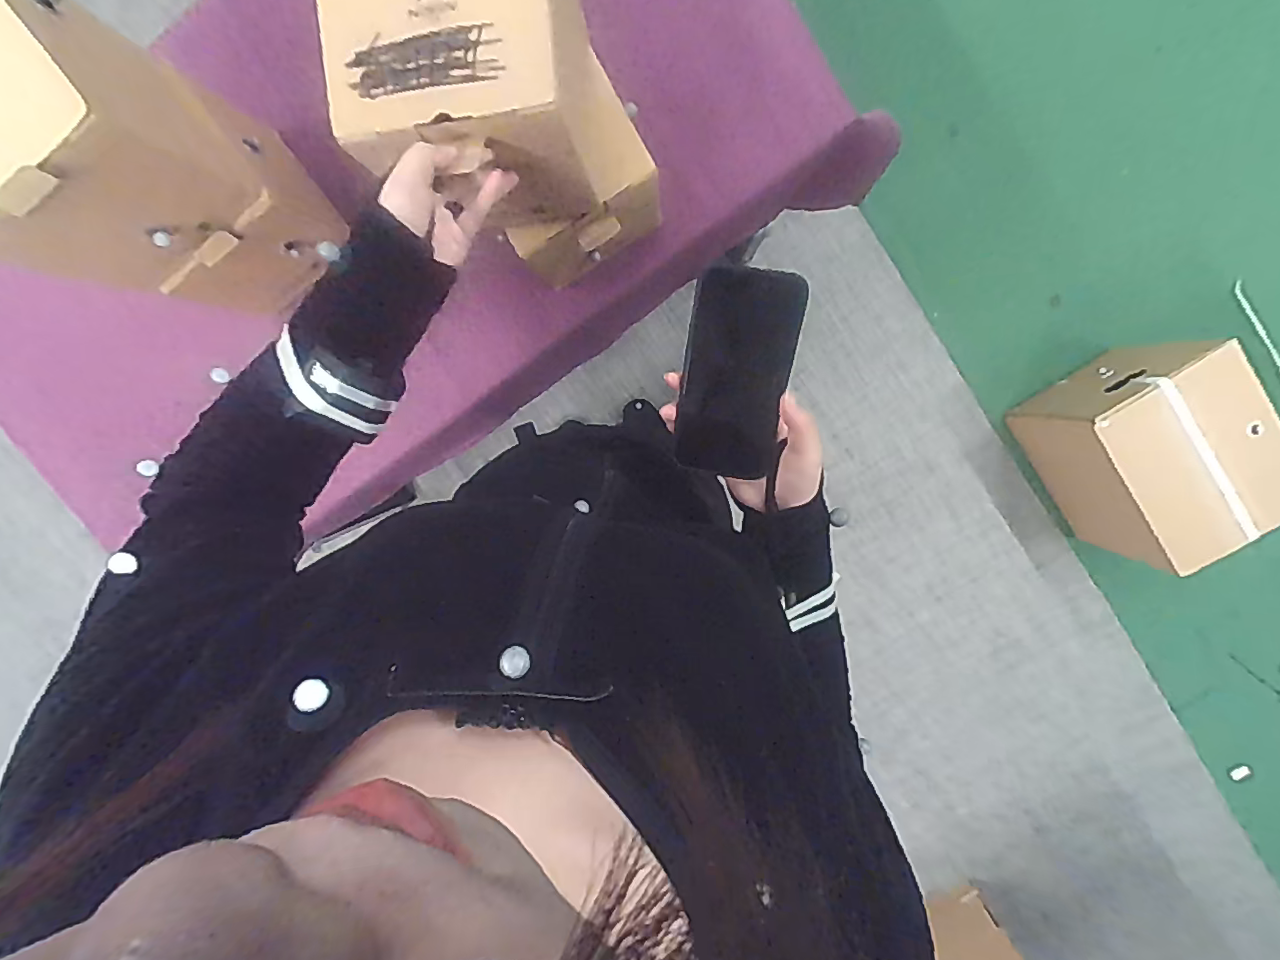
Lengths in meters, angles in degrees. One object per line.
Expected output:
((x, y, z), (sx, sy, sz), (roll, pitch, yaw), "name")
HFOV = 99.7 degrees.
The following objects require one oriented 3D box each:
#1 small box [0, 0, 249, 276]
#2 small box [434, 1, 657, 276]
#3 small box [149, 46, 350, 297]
((-0.514, -0.312, 0.478), (0.168, 0.176, 0.179), (-35, 96, 8), "small box")
((-0.092, -0.363, 0.616), (0.168, 0.176, 0.179), (-29, 97, 7), "small box")
((-0.492, -0.337, 0.640), (0.168, 0.176, 0.179), (-34, 96, 7), "small box")
